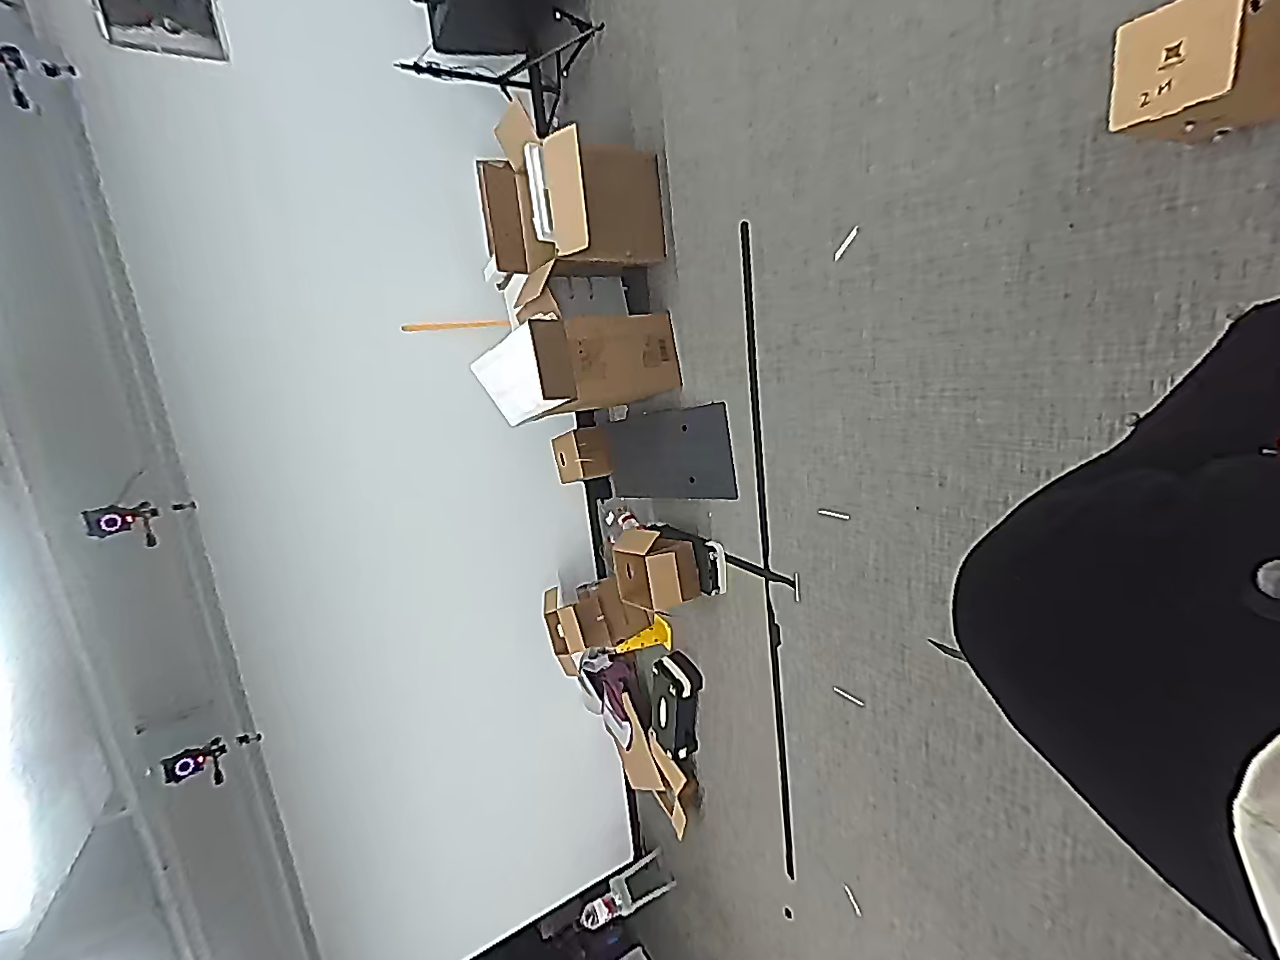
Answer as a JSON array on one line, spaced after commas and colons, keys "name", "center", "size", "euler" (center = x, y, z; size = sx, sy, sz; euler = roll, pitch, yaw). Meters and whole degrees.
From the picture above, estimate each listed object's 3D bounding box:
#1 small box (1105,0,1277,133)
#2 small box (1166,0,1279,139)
[{"name": "small box", "center": [0.967, -0.742, 0.952], "size": [0.168, 0.176, 0.179], "euler": [18, 117, 60]}, {"name": "small box", "center": [1.112, -0.776, 1.020], "size": [0.168, 0.176, 0.179], "euler": [19, 117, 59]}]
